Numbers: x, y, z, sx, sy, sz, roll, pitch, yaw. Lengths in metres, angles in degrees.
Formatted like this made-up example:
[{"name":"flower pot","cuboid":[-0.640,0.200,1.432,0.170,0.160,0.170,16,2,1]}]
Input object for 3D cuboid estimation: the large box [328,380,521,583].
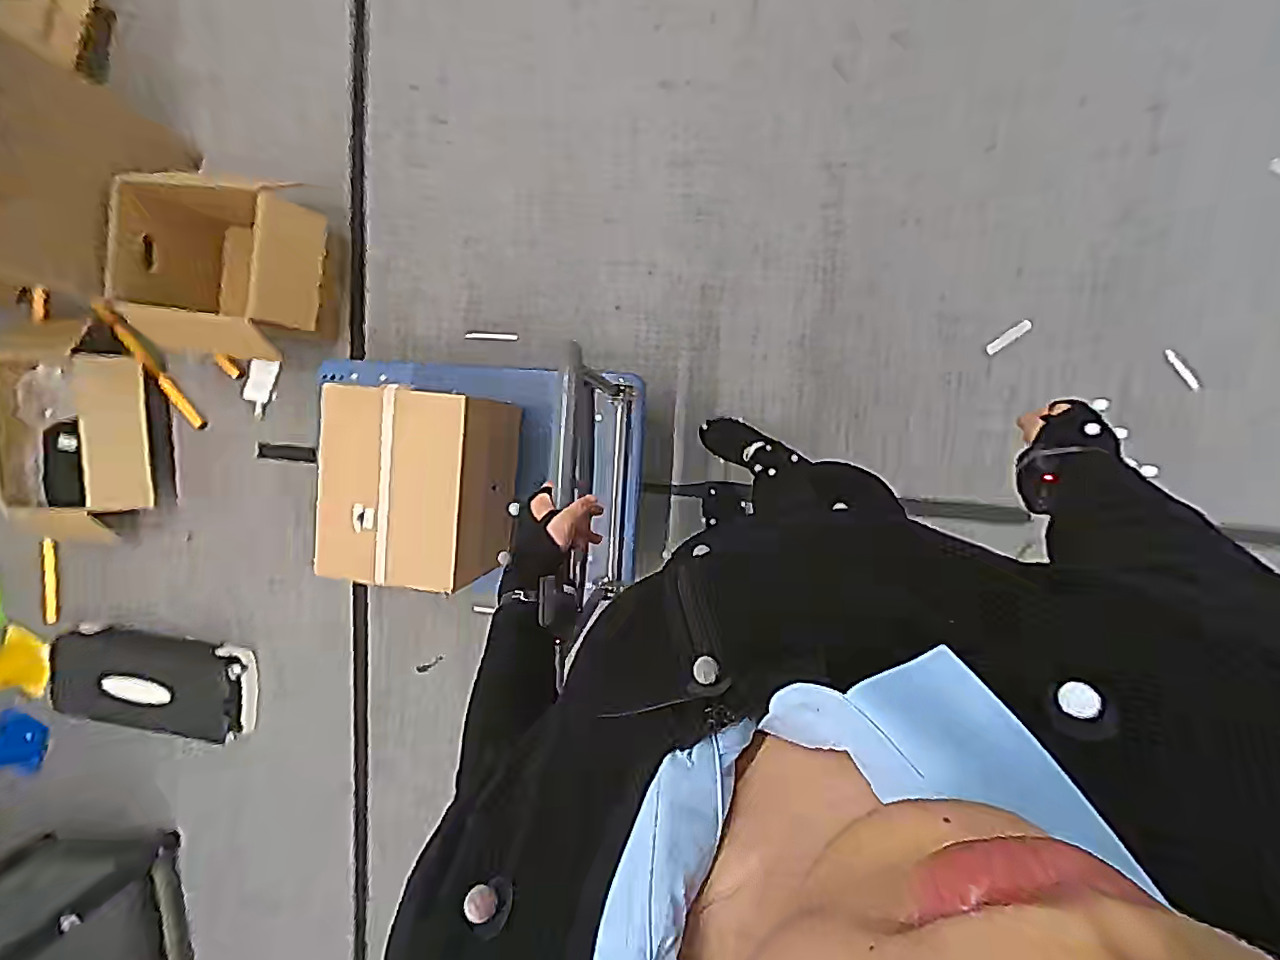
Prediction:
[{"name":"large box","cuboid":[-0.479,-0.013,1.253,0.320,0.320,0.408,6,96,8]}]
